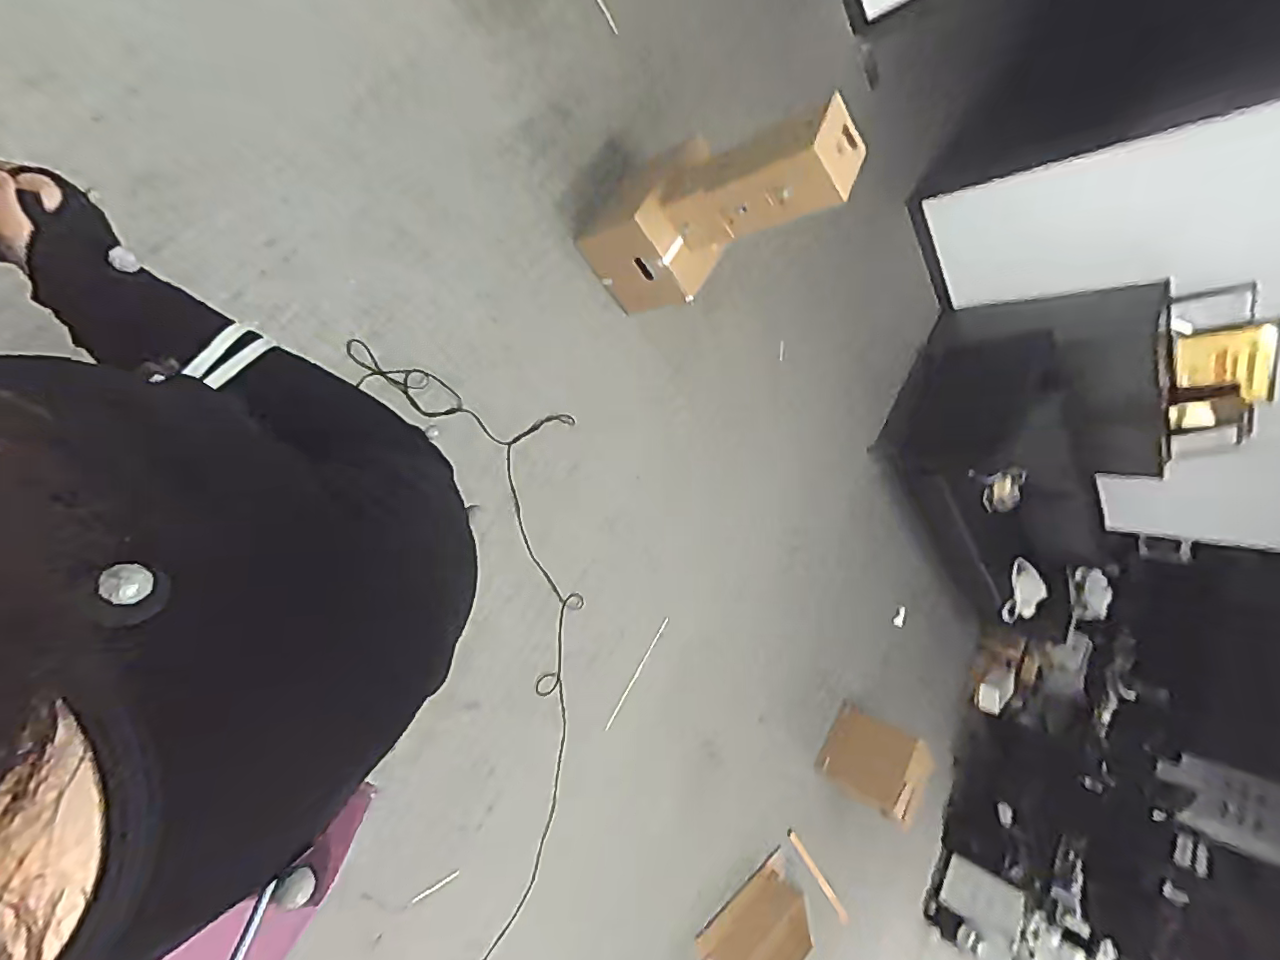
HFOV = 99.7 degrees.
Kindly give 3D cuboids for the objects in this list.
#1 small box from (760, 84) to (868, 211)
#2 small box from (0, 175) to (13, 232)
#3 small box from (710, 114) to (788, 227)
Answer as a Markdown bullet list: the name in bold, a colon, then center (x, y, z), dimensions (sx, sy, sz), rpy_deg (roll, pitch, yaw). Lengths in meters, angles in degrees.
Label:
- **small box**: center (0.418, -0.797, 1.314), dimensions (0.168, 0.176, 0.179), rpy_deg (34, 74, -37)
- **small box**: center (-0.463, -0.210, 0.262), dimensions (0.179, 0.176, 0.168), rpy_deg (-23, 119, -39)
- **small box**: center (0.313, -0.811, 1.441), dimensions (0.168, 0.176, 0.179), rpy_deg (35, 74, -37)
